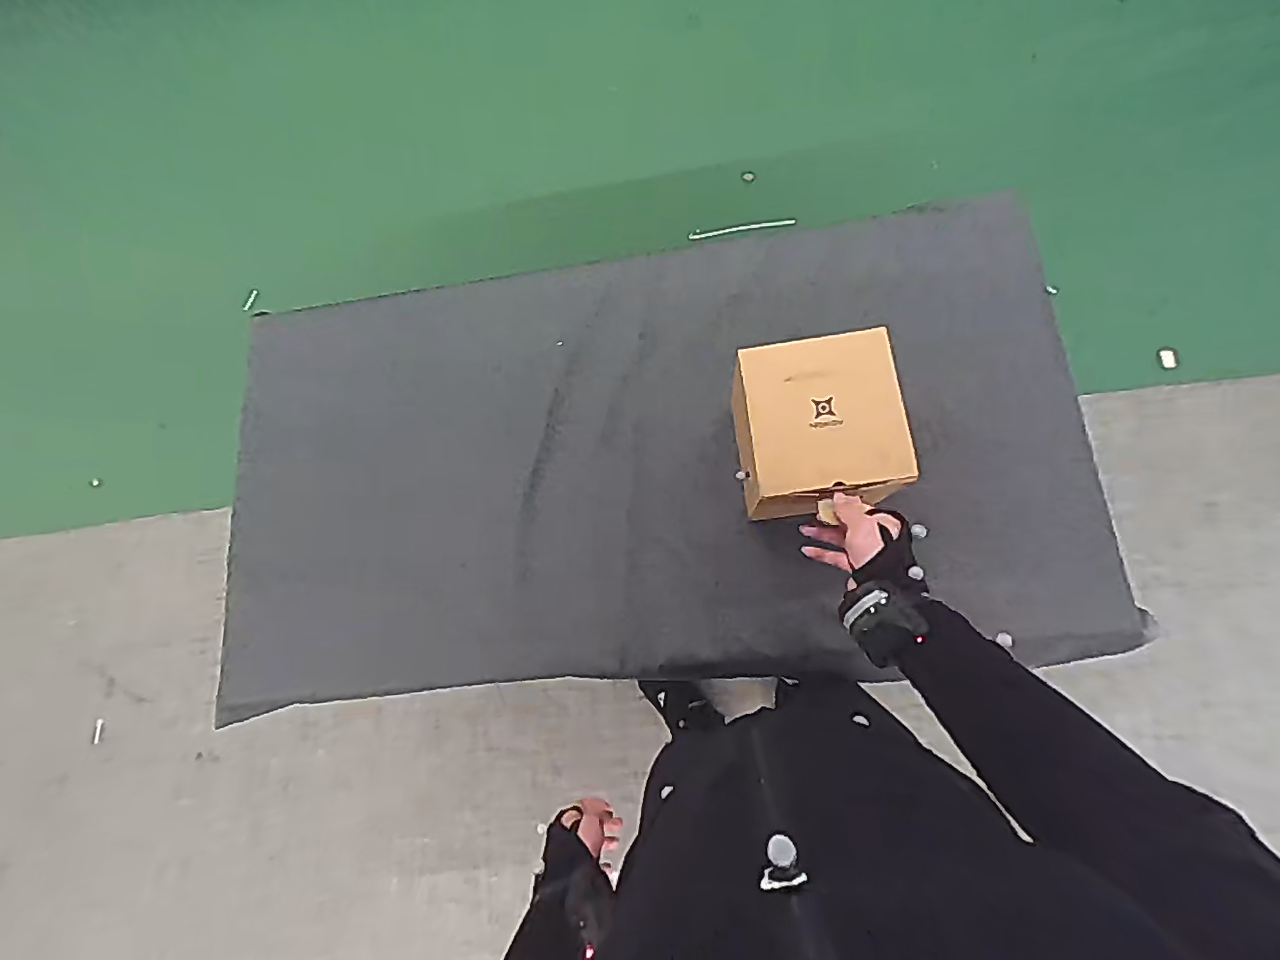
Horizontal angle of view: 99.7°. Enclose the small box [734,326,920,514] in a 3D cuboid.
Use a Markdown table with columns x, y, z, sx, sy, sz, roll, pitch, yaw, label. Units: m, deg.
| x | y | z | sx | sy | sz | roll | pitch | yaw | label |
| --- | --- | --- | --- | --- | --- | --- | --- | --- | --- |
| 0.212 | -0.060 | 0.663 | 0.168 | 0.176 | 0.179 | -8 | 75 | 5 | small box |
